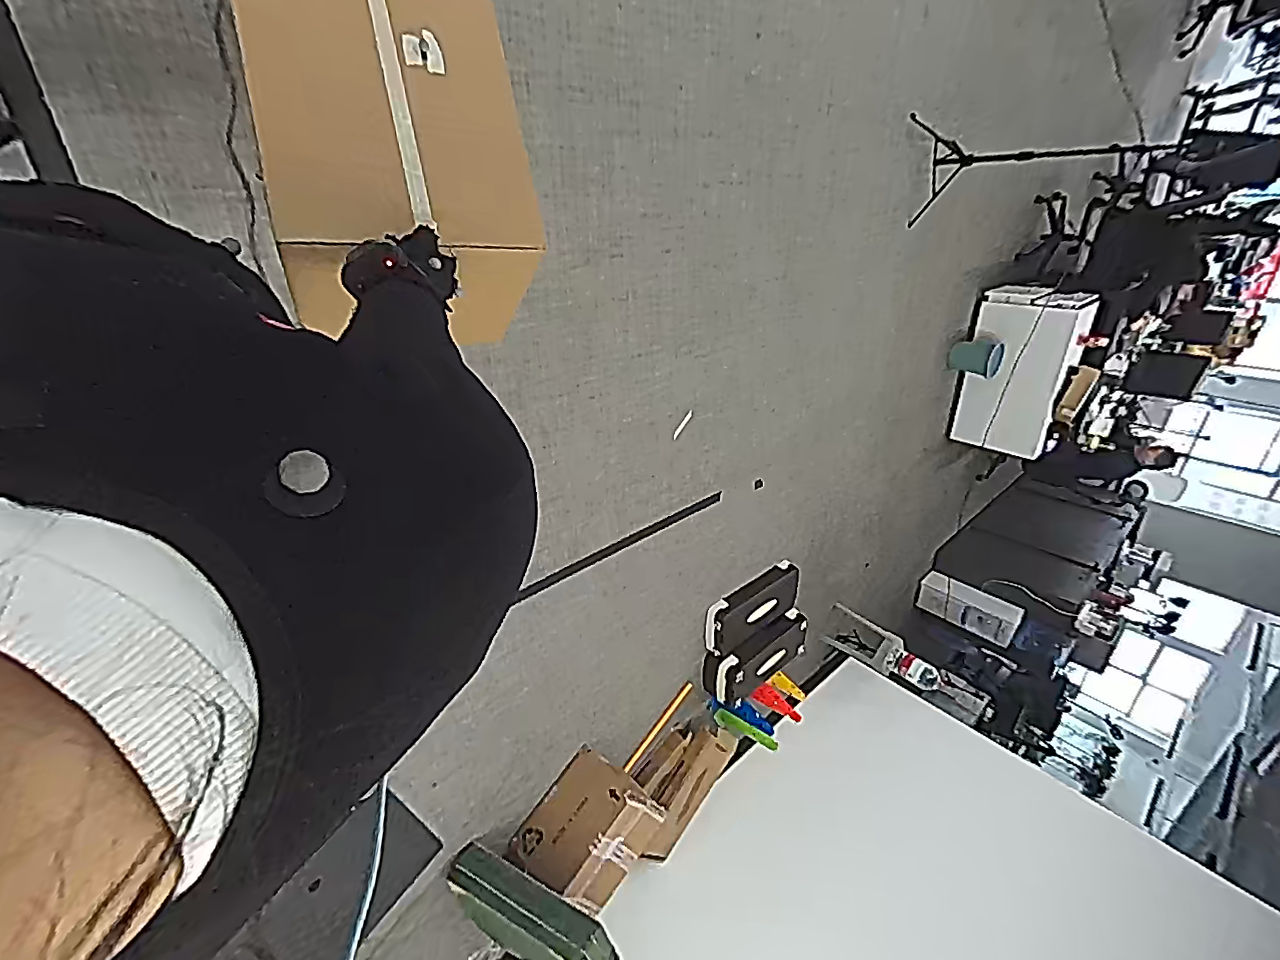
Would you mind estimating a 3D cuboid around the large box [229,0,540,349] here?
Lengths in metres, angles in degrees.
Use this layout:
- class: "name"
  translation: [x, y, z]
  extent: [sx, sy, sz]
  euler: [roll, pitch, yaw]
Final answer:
- class: "large box"
  translation: [-0.381, -0.455, 0.824]
  extent: [0.320, 0.320, 0.408]
  euler: [-11, 84, -28]
